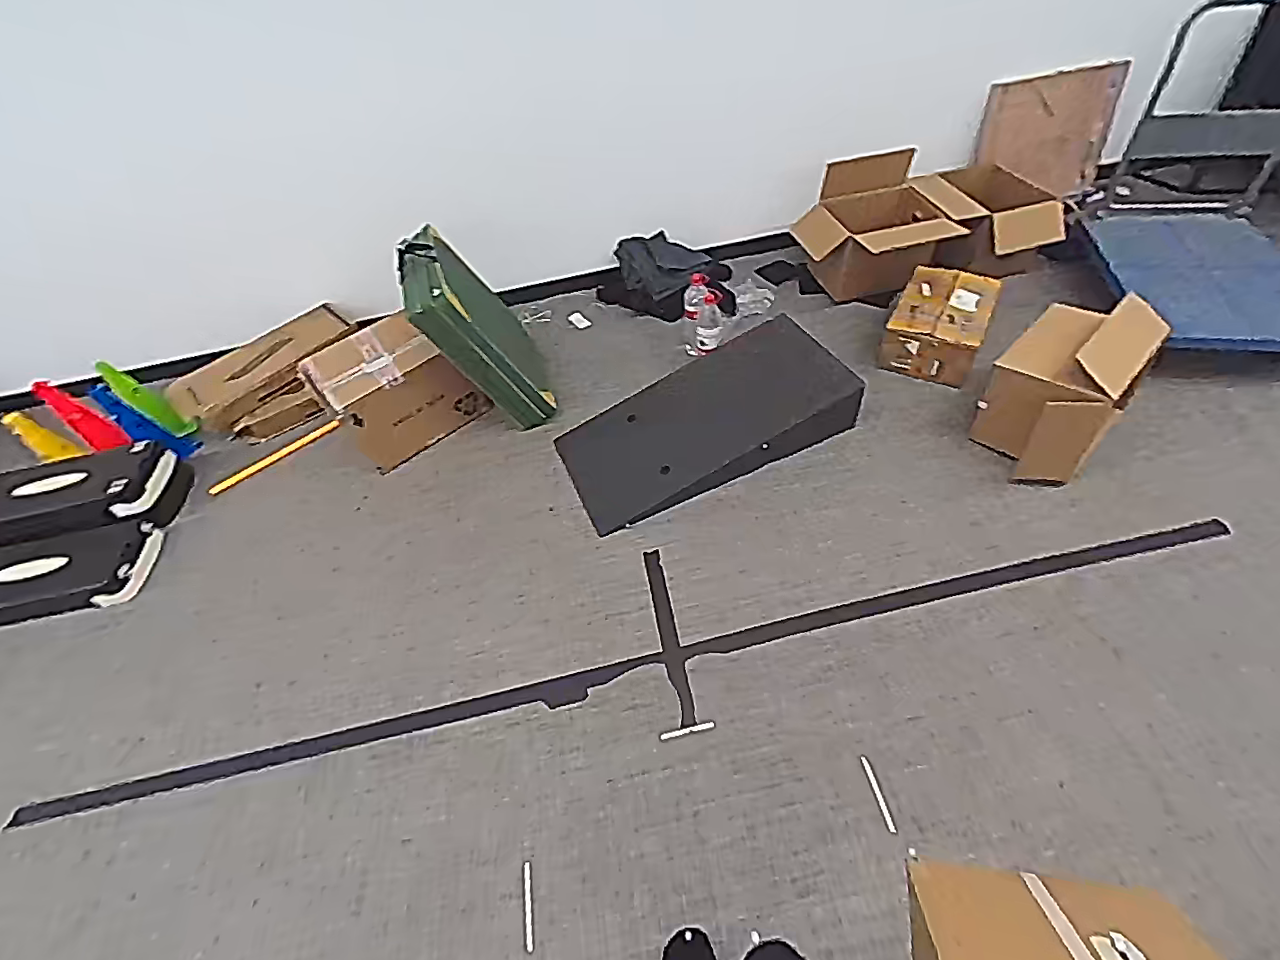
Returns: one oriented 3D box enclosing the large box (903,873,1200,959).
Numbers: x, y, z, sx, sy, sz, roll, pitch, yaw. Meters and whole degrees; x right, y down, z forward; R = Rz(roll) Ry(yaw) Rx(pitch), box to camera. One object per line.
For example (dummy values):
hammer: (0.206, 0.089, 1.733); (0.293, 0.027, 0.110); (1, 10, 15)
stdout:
large box: (0.493, 0.714, 0.564); (0.320, 0.408, 0.320); (-1, 85, 15)
